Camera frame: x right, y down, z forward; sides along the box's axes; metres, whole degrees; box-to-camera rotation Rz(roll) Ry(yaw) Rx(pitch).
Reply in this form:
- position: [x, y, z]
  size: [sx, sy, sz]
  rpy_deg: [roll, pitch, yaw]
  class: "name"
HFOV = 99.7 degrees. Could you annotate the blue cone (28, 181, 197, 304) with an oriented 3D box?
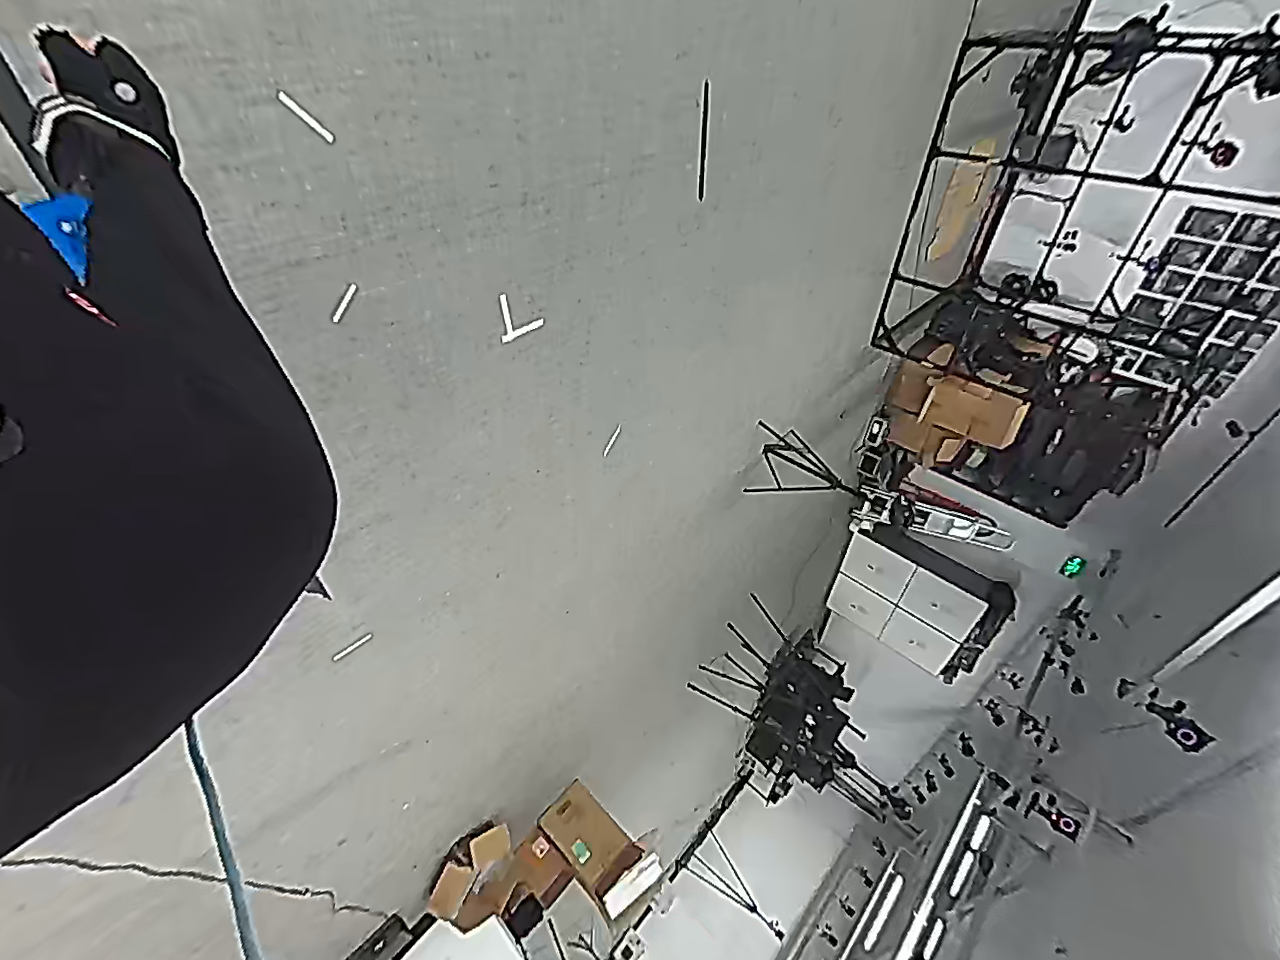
- position: [-0.877, -0.377, 0.952]
  size: [0.192, 0.380, 0.193]
  rpy_deg: [-39, 145, -31]
  class: "blue cone"
